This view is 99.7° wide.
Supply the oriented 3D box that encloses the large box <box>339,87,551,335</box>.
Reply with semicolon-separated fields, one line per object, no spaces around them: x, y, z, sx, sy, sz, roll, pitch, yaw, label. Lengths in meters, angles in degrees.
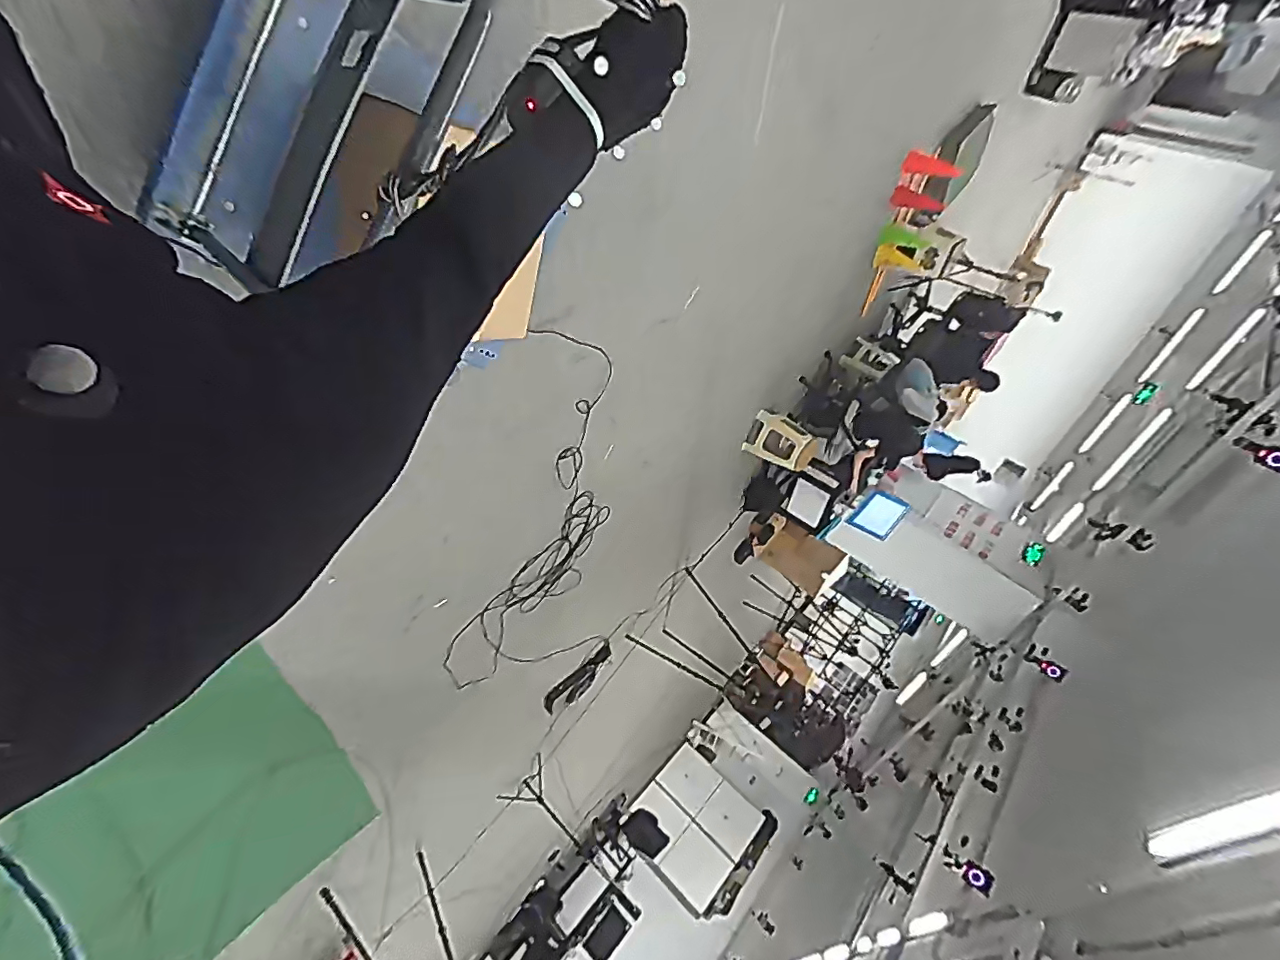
-0.444;-0.573;1.204;0.320;0.320;0.408;-21;137;-49;large box
